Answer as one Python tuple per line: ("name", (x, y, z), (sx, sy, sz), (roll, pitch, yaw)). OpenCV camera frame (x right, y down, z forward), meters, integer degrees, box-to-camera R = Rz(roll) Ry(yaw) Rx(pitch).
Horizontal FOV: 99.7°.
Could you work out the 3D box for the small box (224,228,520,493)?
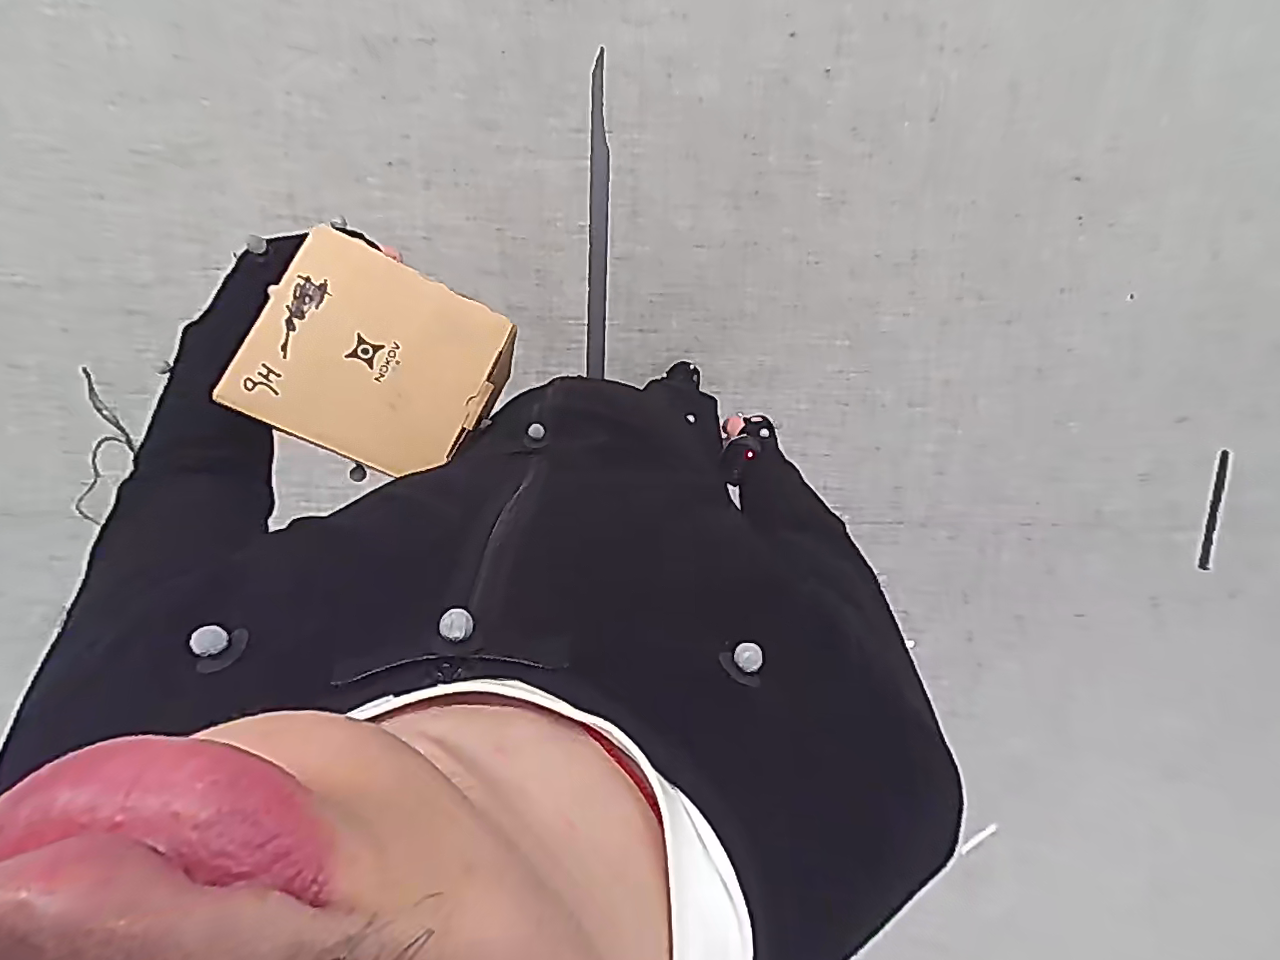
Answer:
("small box", (-0.236, -0.094, 0.523), (0.179, 0.176, 0.168), (25, 79, -13))
